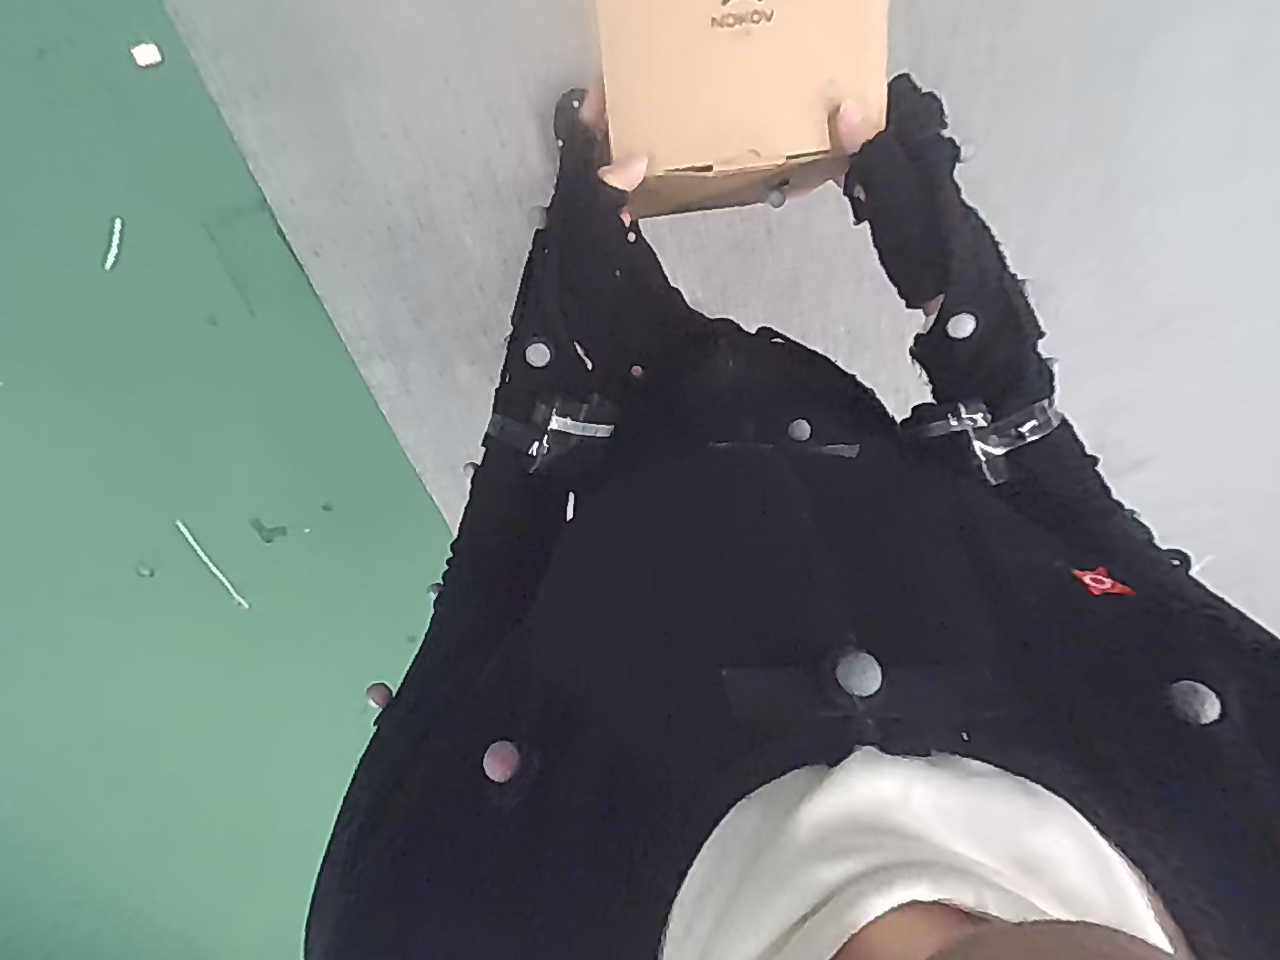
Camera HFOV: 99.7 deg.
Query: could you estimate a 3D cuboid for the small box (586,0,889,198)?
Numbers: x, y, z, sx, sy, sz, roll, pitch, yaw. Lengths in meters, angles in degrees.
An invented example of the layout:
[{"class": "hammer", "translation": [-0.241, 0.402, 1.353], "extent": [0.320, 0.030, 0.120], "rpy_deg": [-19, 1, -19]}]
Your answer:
[{"class": "small box", "translation": [0.052, -0.304, 0.366], "extent": [0.168, 0.176, 0.179], "rpy_deg": [-9, 109, 3]}]
